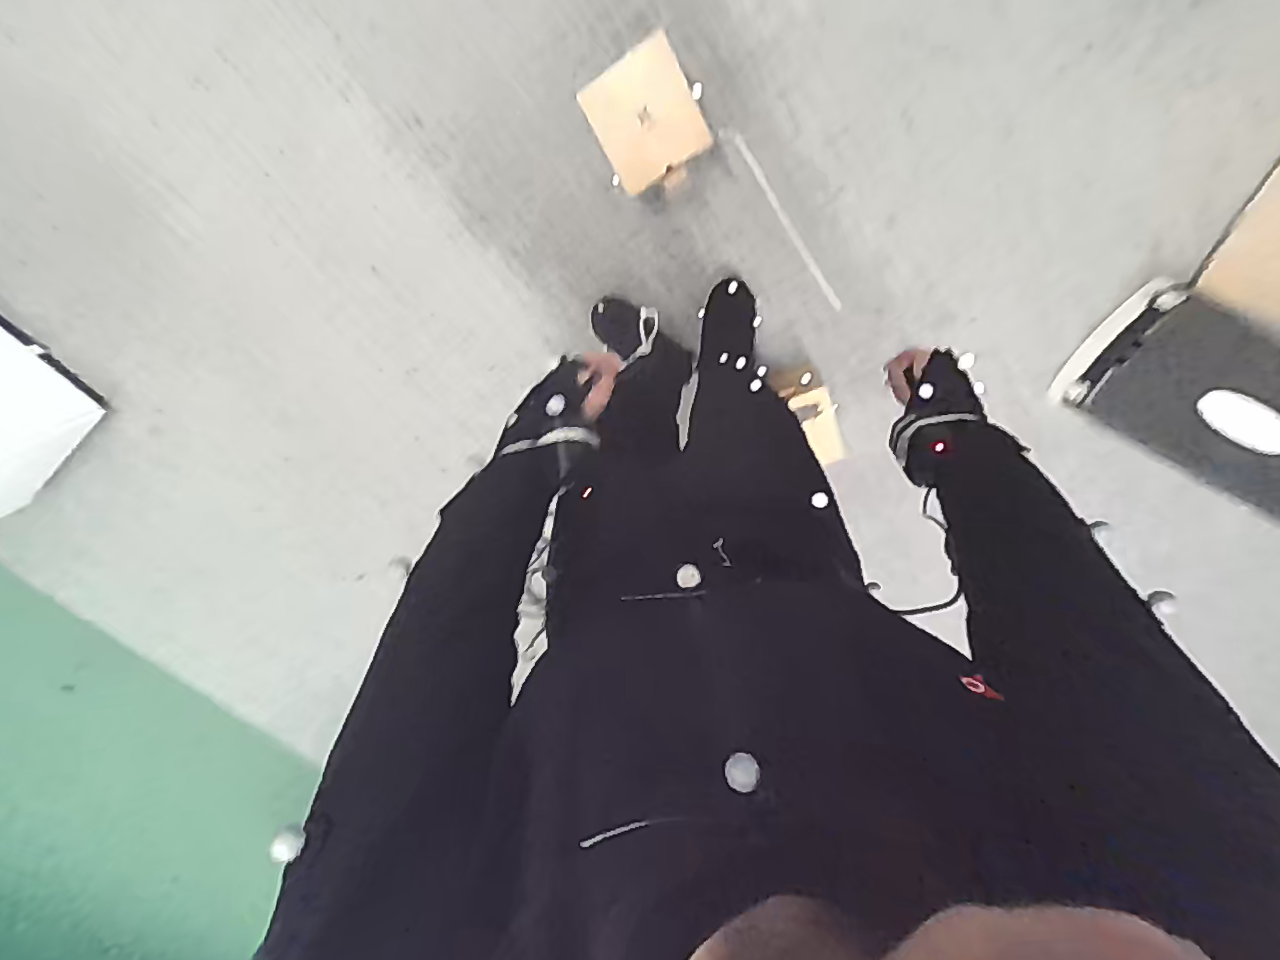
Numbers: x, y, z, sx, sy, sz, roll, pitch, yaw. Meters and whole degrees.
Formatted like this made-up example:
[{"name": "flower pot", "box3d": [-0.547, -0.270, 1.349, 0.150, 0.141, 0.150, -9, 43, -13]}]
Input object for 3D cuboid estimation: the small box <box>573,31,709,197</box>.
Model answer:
[{"name": "small box", "box3d": [0.007, -0.627, 0.951, 0.168, 0.176, 0.179, -26, 115, 18]}]
